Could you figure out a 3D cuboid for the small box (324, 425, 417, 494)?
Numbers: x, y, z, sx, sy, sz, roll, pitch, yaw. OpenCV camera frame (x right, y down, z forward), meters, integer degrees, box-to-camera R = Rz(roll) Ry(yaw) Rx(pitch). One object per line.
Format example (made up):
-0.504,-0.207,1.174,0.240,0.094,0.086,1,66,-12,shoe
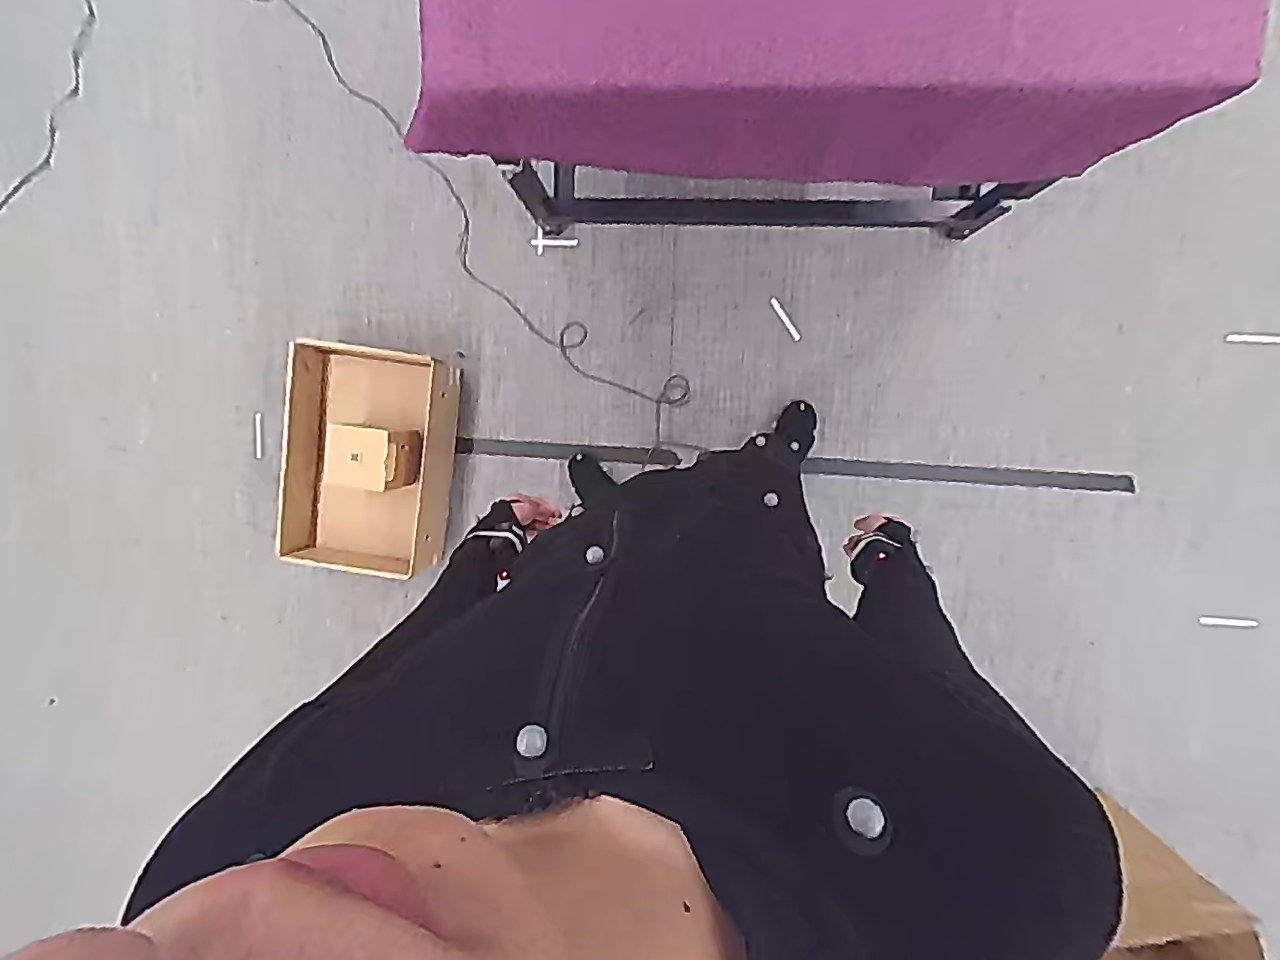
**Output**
-0.750,-0.064,1.519,0.179,0.176,0.168,8,96,2,small box
